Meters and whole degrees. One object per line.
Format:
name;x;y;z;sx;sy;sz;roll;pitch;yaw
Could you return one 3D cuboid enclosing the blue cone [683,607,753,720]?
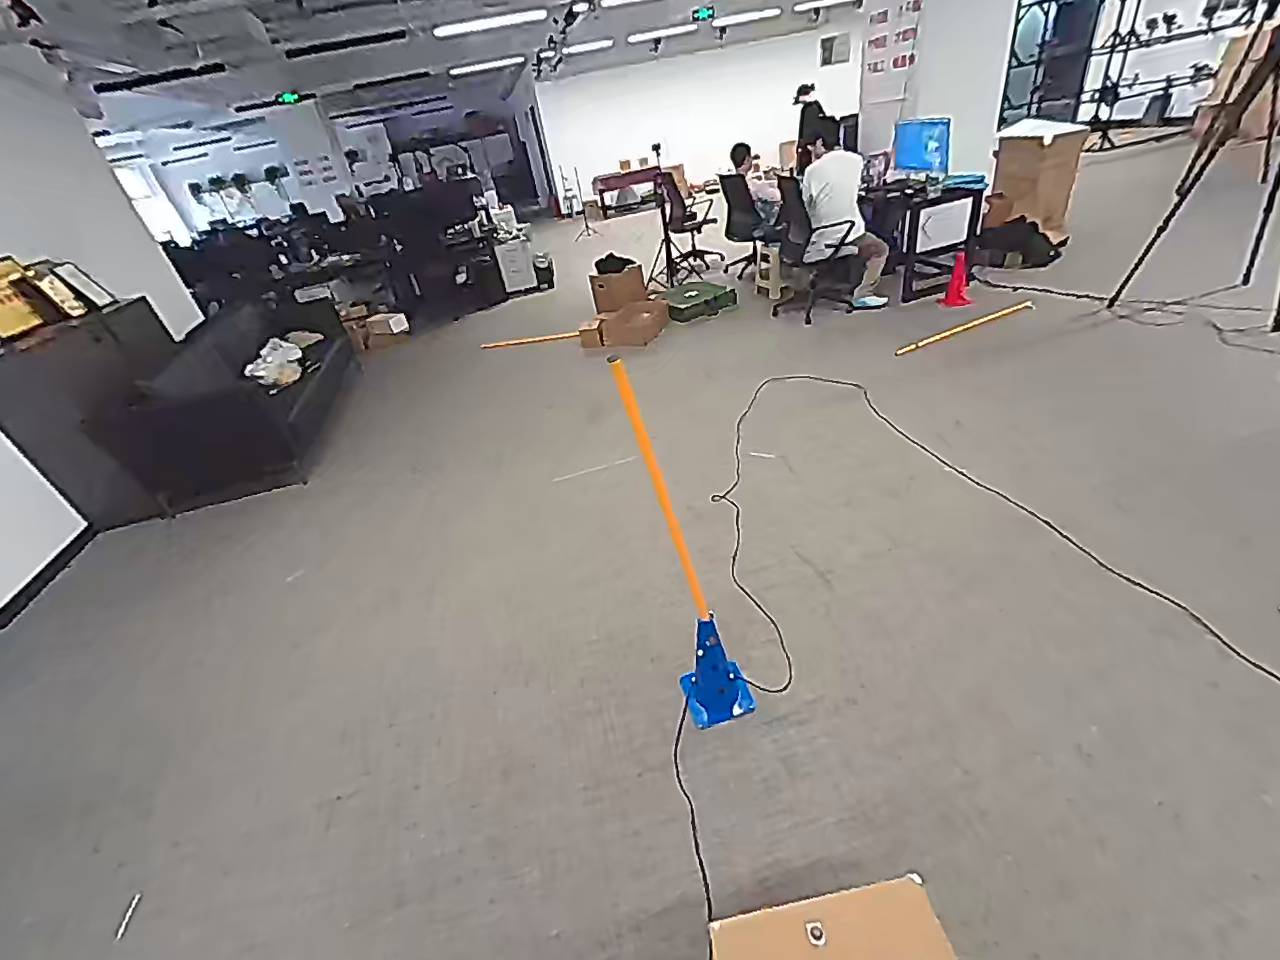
blue cone;0.216;0.532;1.634;0.193;0.380;0.192;-19;33;-8
